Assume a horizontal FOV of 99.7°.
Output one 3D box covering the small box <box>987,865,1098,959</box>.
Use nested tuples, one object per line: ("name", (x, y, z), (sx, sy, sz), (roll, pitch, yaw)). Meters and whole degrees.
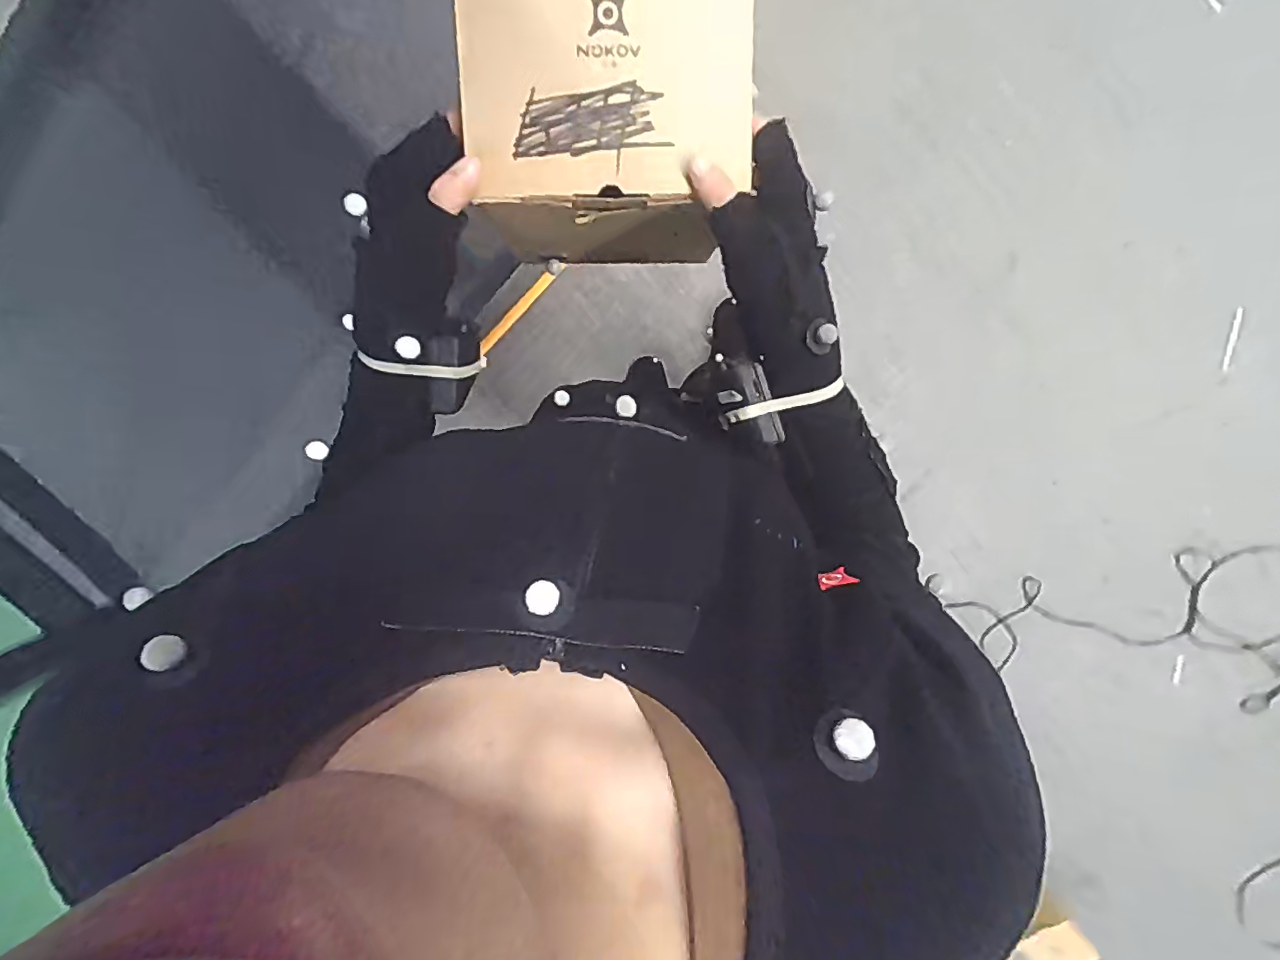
("small box", (1.207, 1.325, 1.635), (0.168, 0.176, 0.179), (-41, 97, 13))
